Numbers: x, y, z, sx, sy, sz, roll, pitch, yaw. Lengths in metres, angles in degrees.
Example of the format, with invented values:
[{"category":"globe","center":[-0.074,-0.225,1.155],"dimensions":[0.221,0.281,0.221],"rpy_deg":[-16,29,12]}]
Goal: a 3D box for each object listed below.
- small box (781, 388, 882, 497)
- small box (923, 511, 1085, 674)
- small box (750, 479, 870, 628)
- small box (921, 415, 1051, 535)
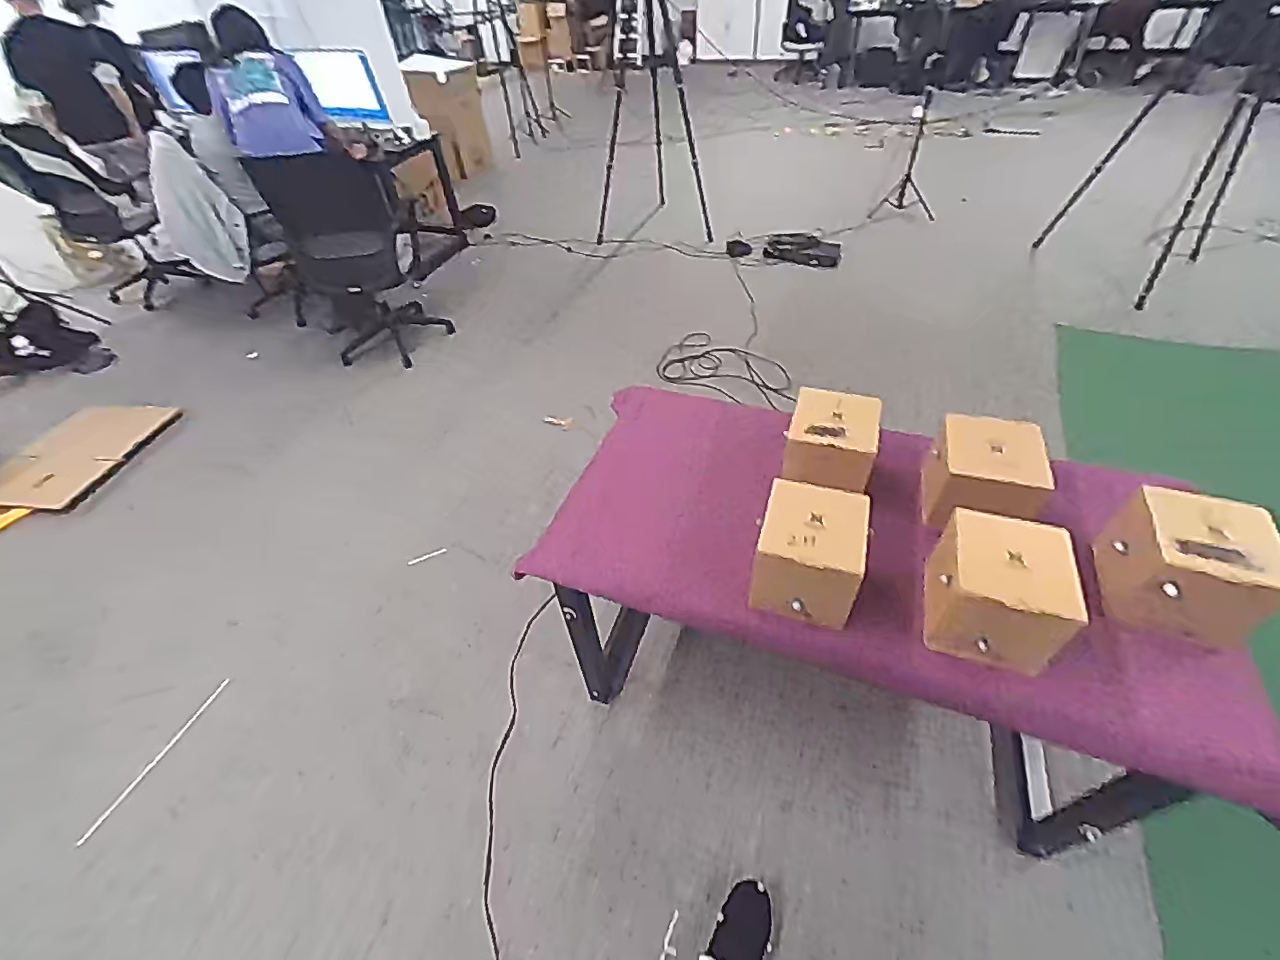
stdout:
[{"category":"small box","center":[0.399,-0.065,1.142],"dimensions":[0.168,0.176,0.179],"rpy_deg":[13,48,16]},{"category":"small box","center":[0.580,0.184,0.889],"dimensions":[0.168,0.176,0.179],"rpy_deg":[13,48,16]},{"category":"small box","center":[0.297,0.129,0.960],"dimensions":[0.168,0.176,0.179],"rpy_deg":[12,47,16]},{"category":"small box","center":[0.664,0.001,1.060],"dimensions":[0.168,0.176,0.179],"rpy_deg":[12,49,17]}]
